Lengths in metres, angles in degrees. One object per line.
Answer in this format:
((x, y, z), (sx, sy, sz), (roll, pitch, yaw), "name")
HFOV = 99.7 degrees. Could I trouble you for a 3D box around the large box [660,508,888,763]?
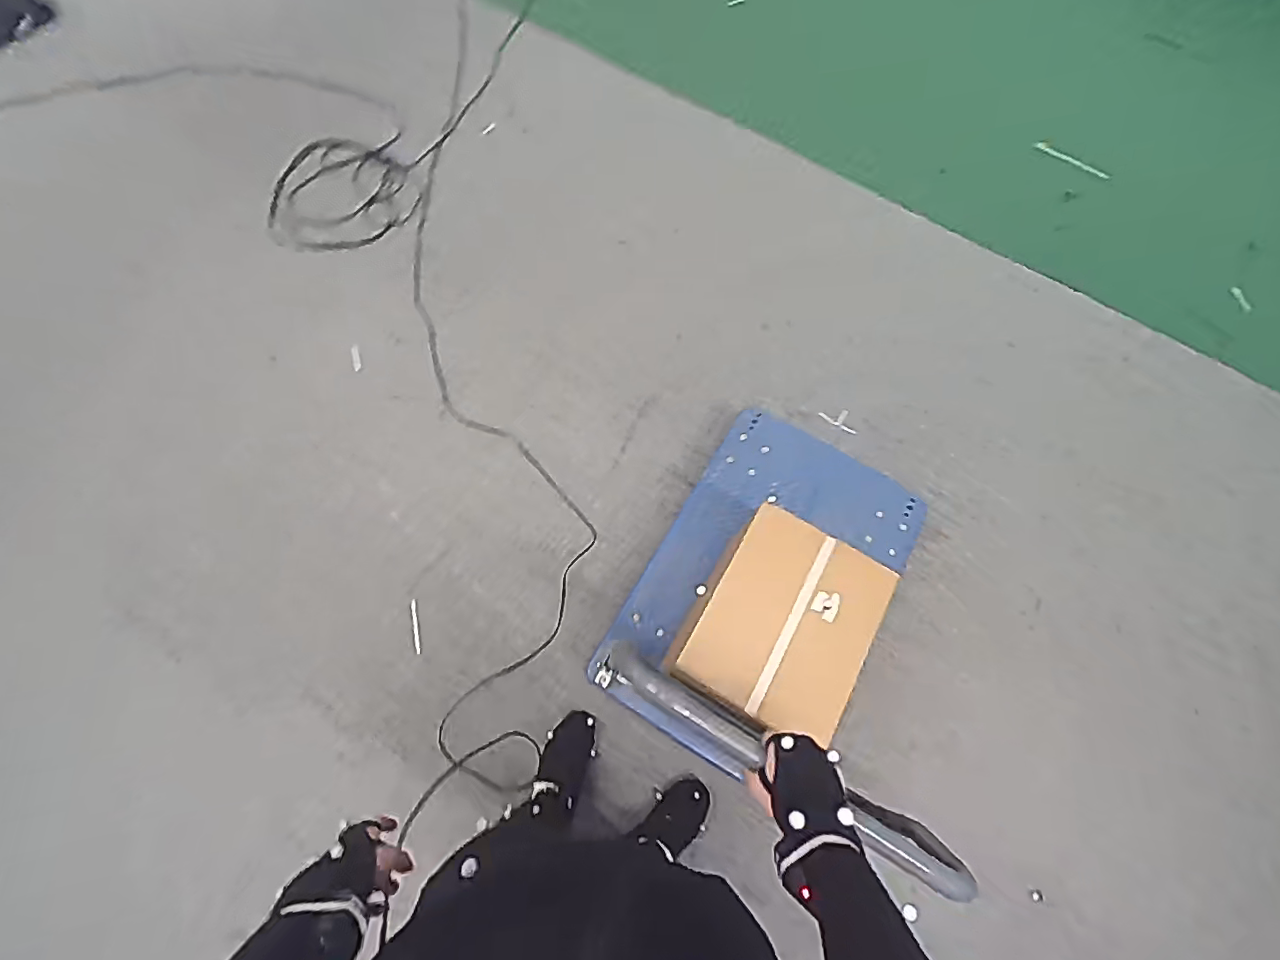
((0.277, 0.343, 1.206), (0.320, 0.320, 0.408), (30, 70, 7), "large box")
